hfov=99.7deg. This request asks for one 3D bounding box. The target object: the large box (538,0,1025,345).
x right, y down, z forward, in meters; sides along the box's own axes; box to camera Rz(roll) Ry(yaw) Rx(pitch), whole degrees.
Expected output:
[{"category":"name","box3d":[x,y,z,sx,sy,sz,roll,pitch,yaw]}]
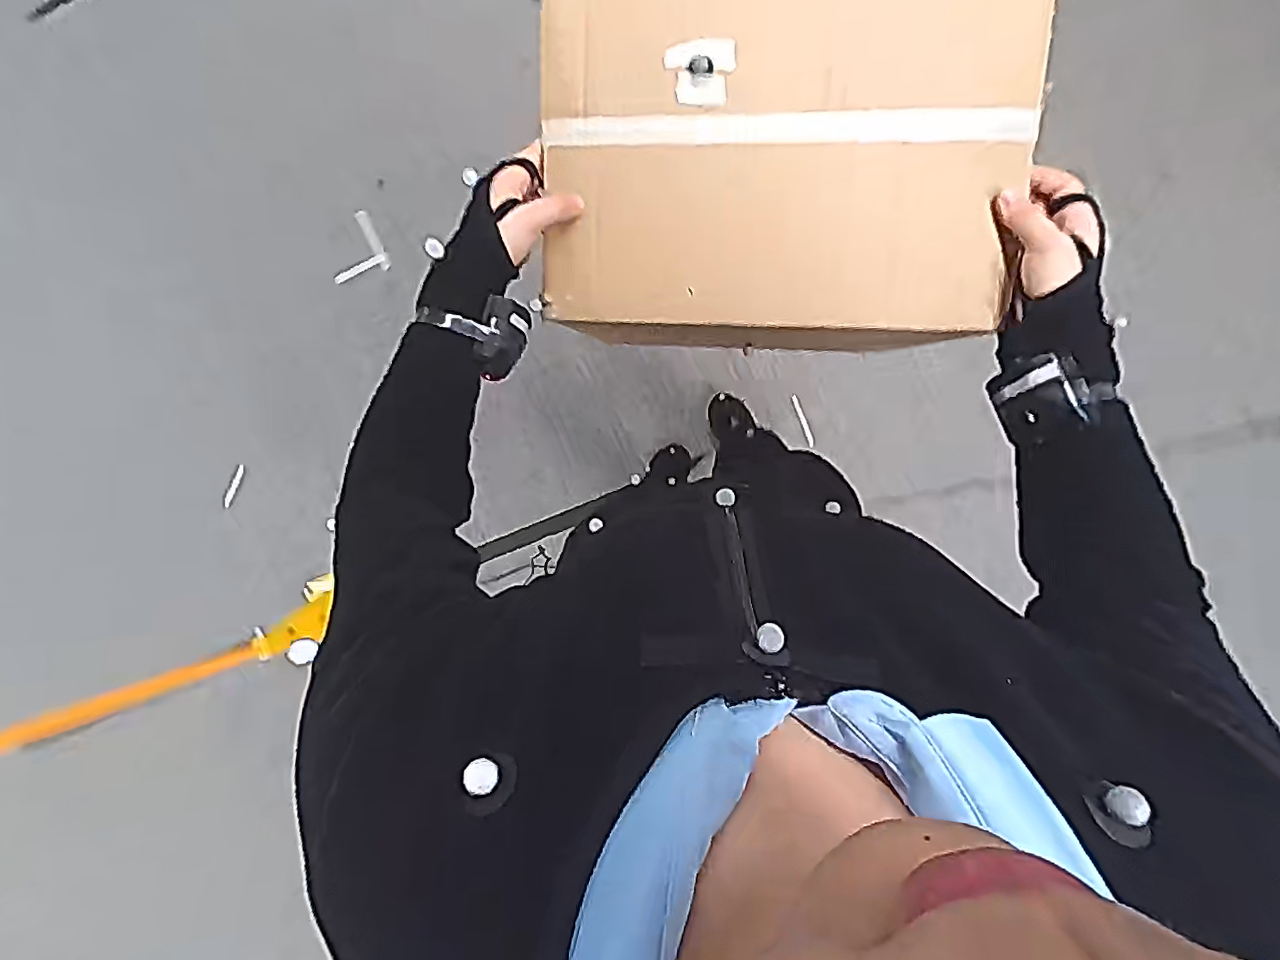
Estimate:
[{"category":"large box","box3d":[0.130,-0.322,0.612,0.408,0.320,0.320,2,99,8]}]
